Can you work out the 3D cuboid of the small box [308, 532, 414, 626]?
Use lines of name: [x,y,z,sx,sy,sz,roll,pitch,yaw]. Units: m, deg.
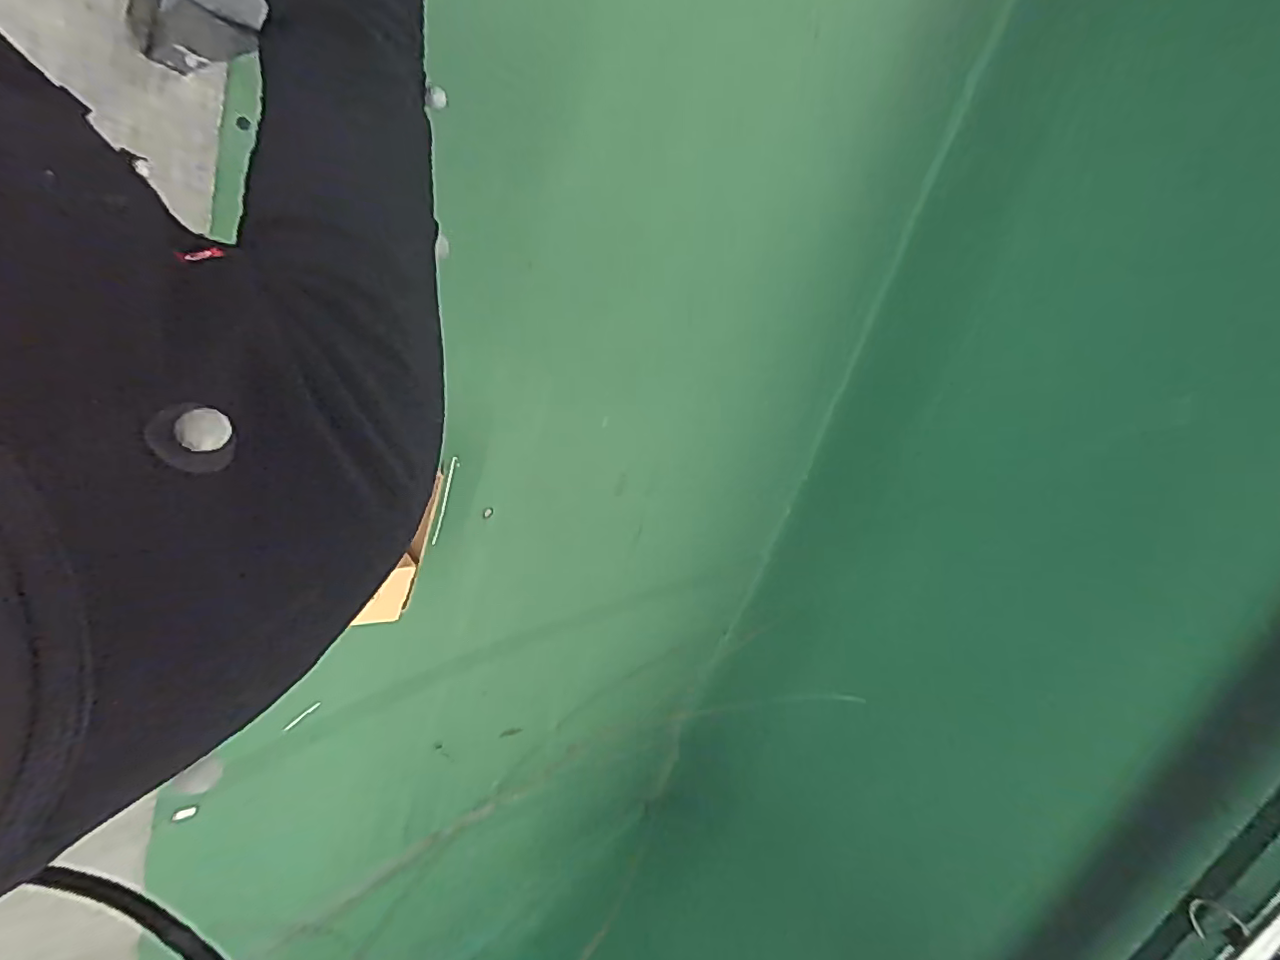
small box: [-0.707,0.242,1.362,0.179,0.176,0.168,7,112,-50]
